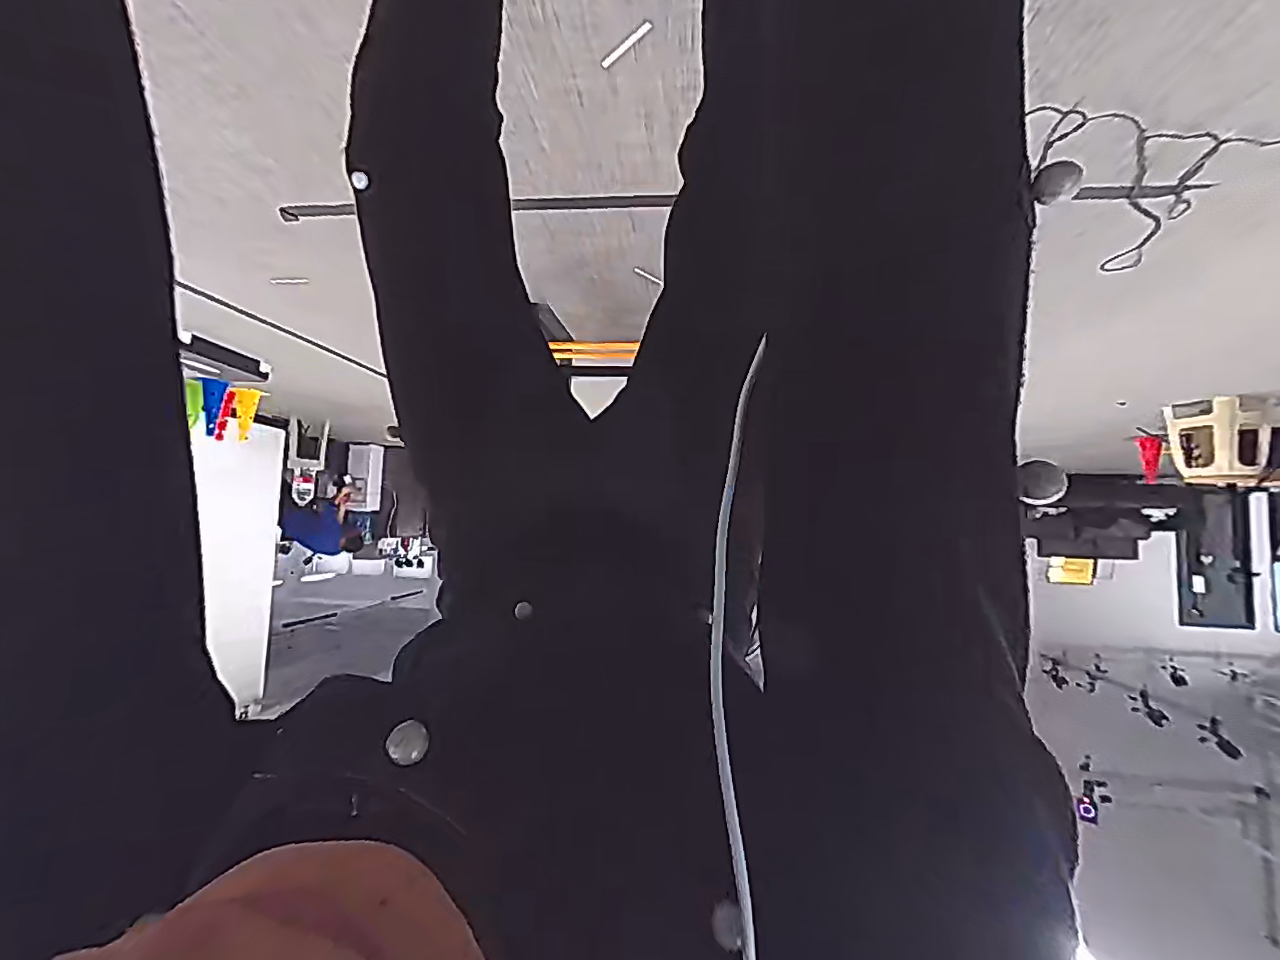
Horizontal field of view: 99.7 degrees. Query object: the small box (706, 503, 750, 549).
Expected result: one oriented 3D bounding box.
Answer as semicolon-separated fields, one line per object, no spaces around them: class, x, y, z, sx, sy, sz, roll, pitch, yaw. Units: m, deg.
small box;0.338;0.177;2.096;0.168;0.176;0.179;2;176;8
